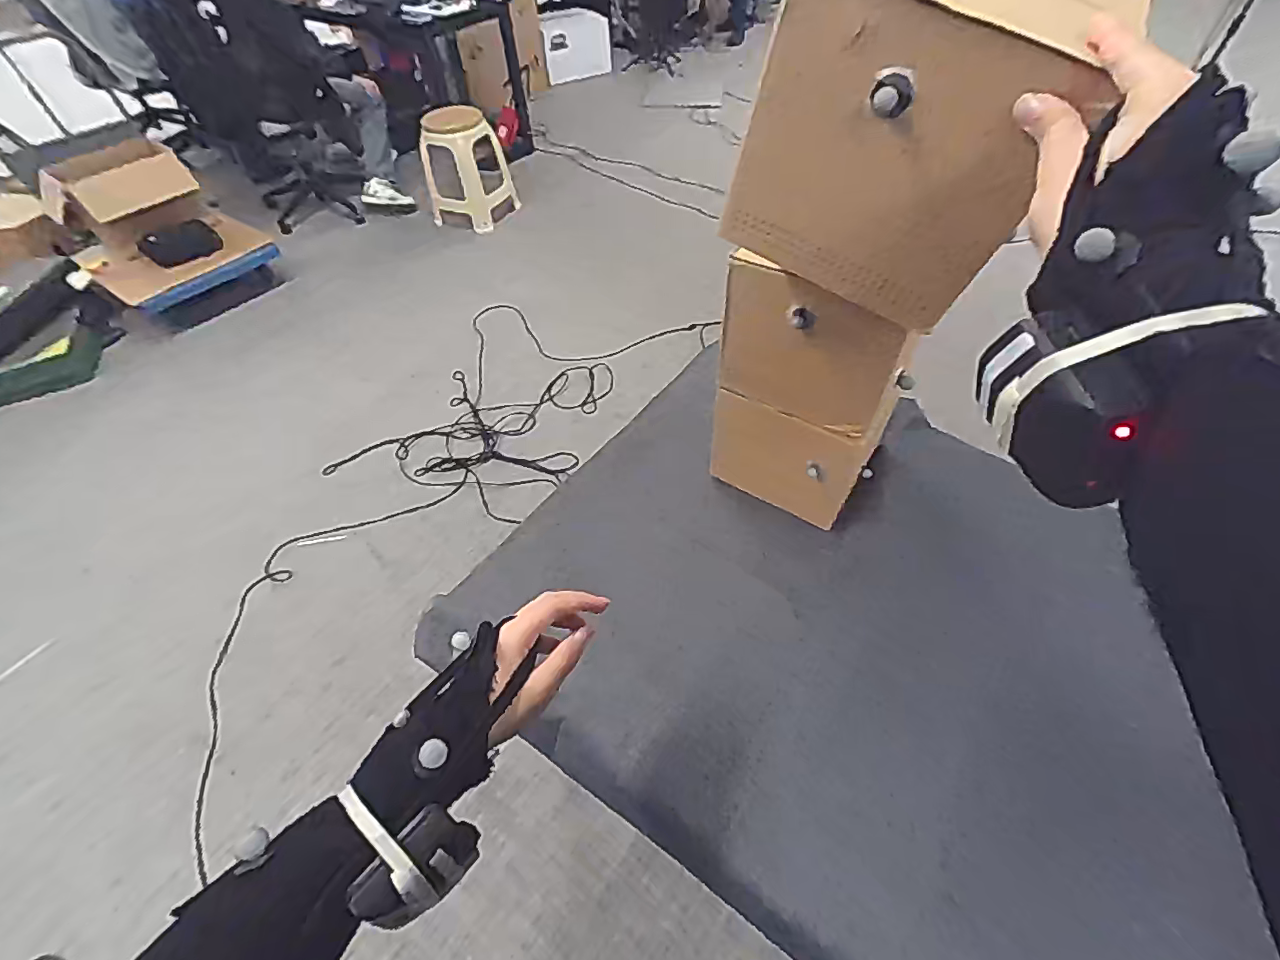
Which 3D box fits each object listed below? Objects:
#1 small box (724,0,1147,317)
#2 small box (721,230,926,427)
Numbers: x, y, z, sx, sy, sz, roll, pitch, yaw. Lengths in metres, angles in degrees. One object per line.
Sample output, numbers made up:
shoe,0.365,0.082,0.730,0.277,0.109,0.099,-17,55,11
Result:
small box,0.181,-0.246,0.368,0.179,0.176,0.168,32,61,6
small box,0.198,-0.183,0.567,0.179,0.176,0.168,27,60,20
